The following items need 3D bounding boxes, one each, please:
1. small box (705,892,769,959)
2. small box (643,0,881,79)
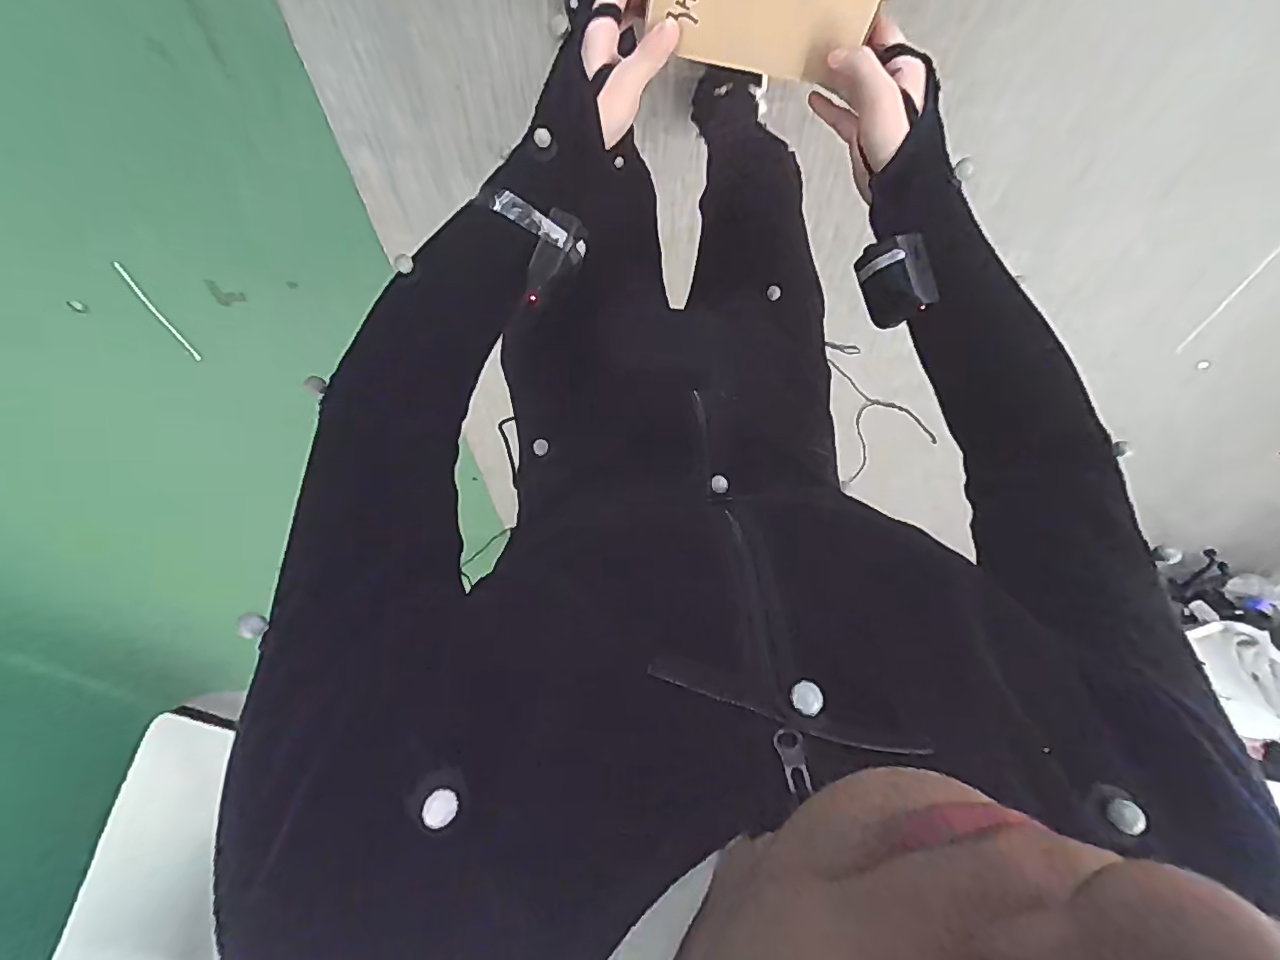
[{"bbox_3d":[0.310,1.475,1.776,0.168,0.176,0.179,-3,147,-3],"label":"small box"},{"bbox_3d":[0.102,-0.458,0.430,0.179,0.176,0.168,5,141,-9],"label":"small box"}]
